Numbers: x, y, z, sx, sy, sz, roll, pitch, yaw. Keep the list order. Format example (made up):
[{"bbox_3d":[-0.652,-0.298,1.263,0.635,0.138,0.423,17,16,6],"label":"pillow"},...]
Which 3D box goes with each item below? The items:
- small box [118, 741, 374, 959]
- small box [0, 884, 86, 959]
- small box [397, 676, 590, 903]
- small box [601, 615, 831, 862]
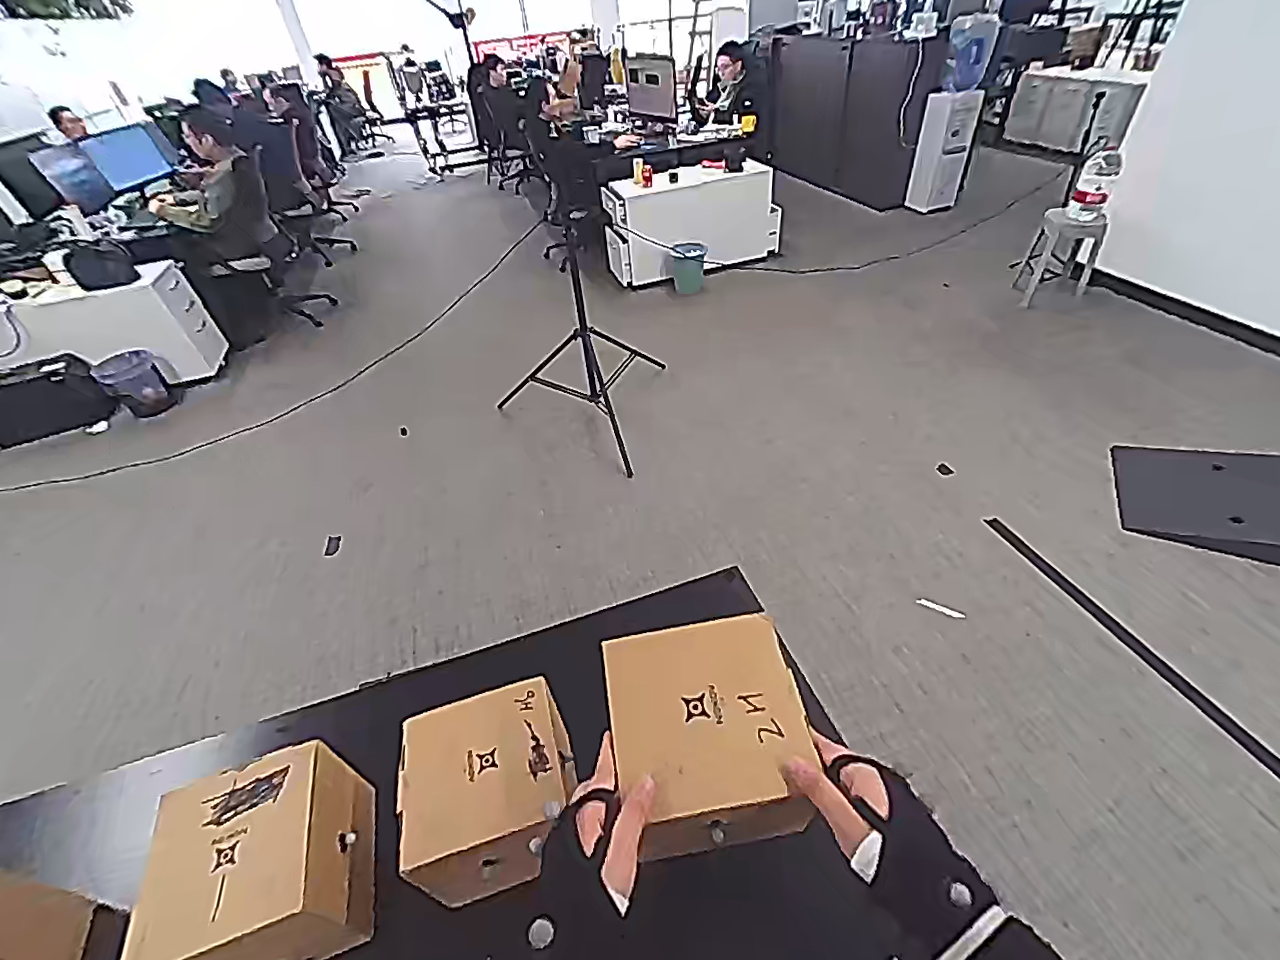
[{"bbox_3d":[-0.420,0.441,0.615,0.168,0.176,0.179,-17,44,-11],"label":"small box"},{"bbox_3d":[-0.729,0.540,0.542,0.168,0.176,0.179,-18,42,-14],"label":"small box"},{"bbox_3d":[-0.171,0.376,0.658,0.179,0.176,0.168,-15,42,-9],"label":"small box"},{"bbox_3d":[0.065,0.260,0.539,0.179,0.176,0.168,-9,48,-3],"label":"small box"}]
